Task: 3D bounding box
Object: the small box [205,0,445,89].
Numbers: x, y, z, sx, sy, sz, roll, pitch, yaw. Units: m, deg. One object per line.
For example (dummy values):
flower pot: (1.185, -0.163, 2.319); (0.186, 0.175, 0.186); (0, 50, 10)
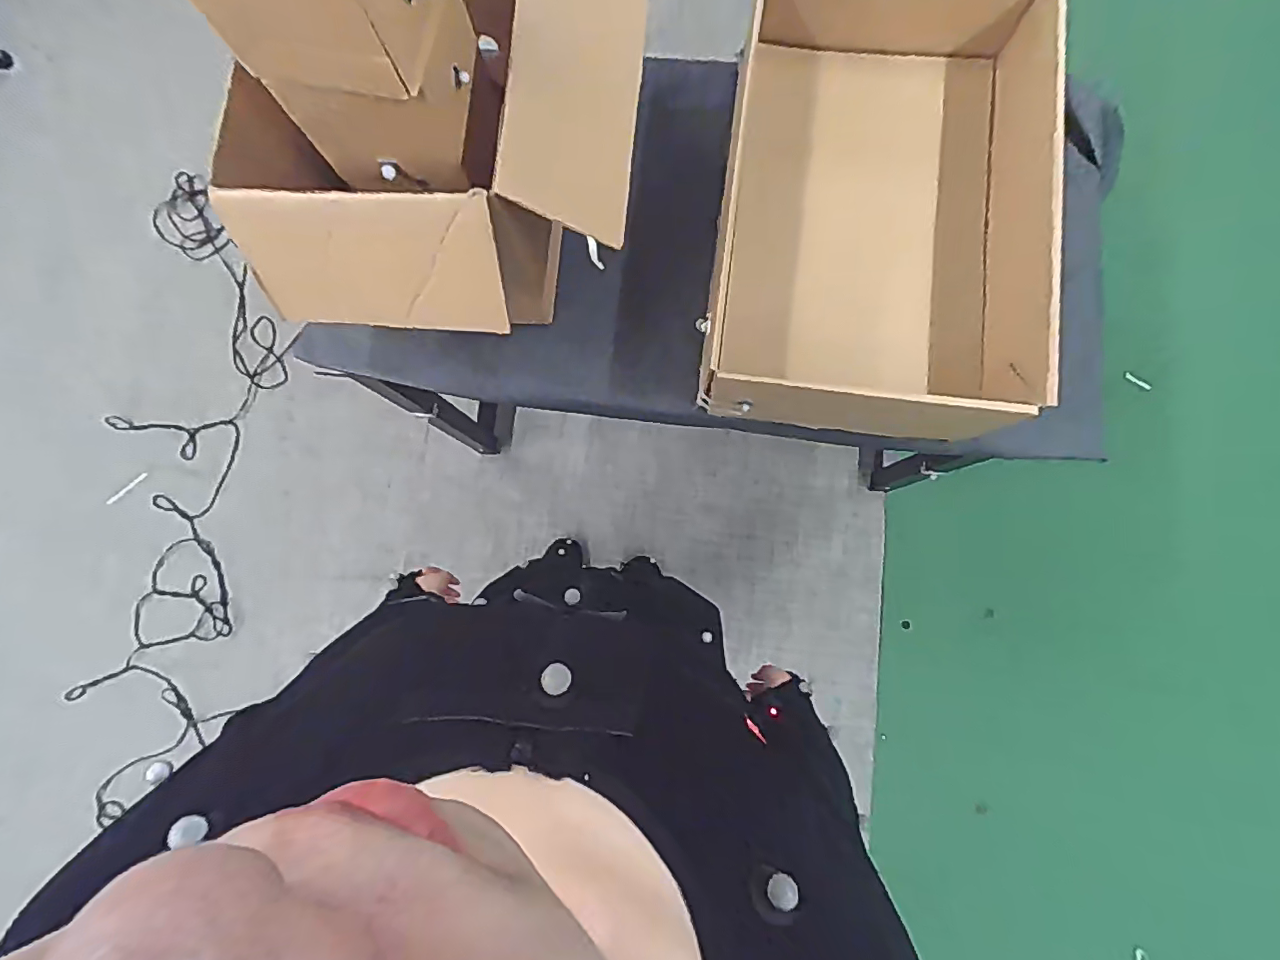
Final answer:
small box: (-0.288, -0.479, 0.461); (0.179, 0.176, 0.168); (11, 83, 3)
